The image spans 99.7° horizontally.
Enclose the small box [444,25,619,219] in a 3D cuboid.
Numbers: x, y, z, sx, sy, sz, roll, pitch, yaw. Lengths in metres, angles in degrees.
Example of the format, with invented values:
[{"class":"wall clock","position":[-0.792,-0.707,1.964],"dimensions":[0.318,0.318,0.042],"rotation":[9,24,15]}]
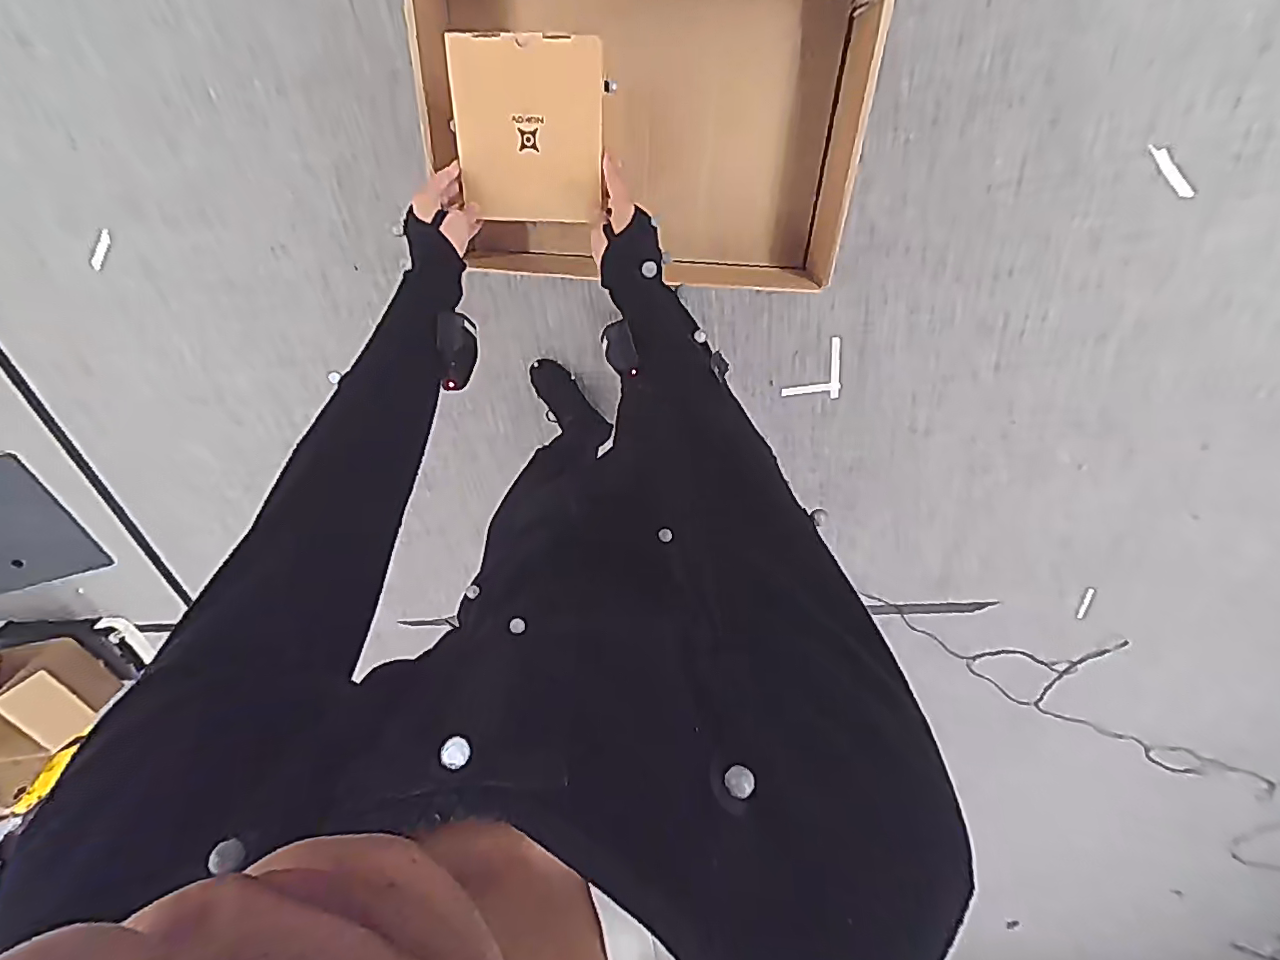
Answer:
[{"class":"small box","position":[-0.116,-0.427,0.660],"dimensions":[0.168,0.176,0.179],"rotation":[3,120,3]}]
